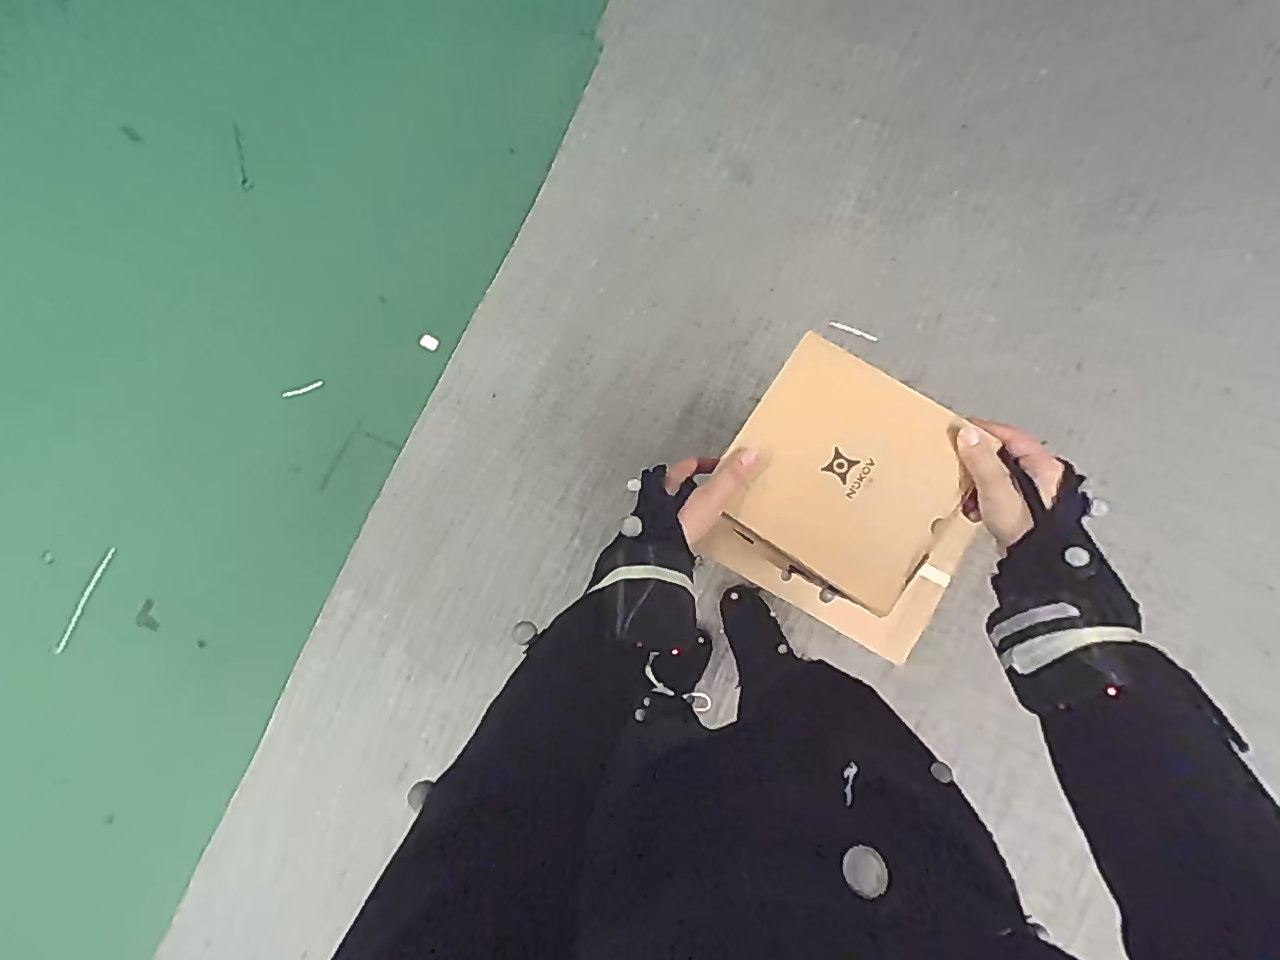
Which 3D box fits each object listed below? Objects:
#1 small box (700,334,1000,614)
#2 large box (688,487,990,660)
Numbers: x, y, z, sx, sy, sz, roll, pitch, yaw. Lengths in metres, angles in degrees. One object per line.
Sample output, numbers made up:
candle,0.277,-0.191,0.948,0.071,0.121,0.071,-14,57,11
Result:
small box,0.172,0.000,0.506,0.179,0.176,0.168,33,90,9
large box,0.343,0.082,1.047,0.408,0.320,0.320,29,90,10
